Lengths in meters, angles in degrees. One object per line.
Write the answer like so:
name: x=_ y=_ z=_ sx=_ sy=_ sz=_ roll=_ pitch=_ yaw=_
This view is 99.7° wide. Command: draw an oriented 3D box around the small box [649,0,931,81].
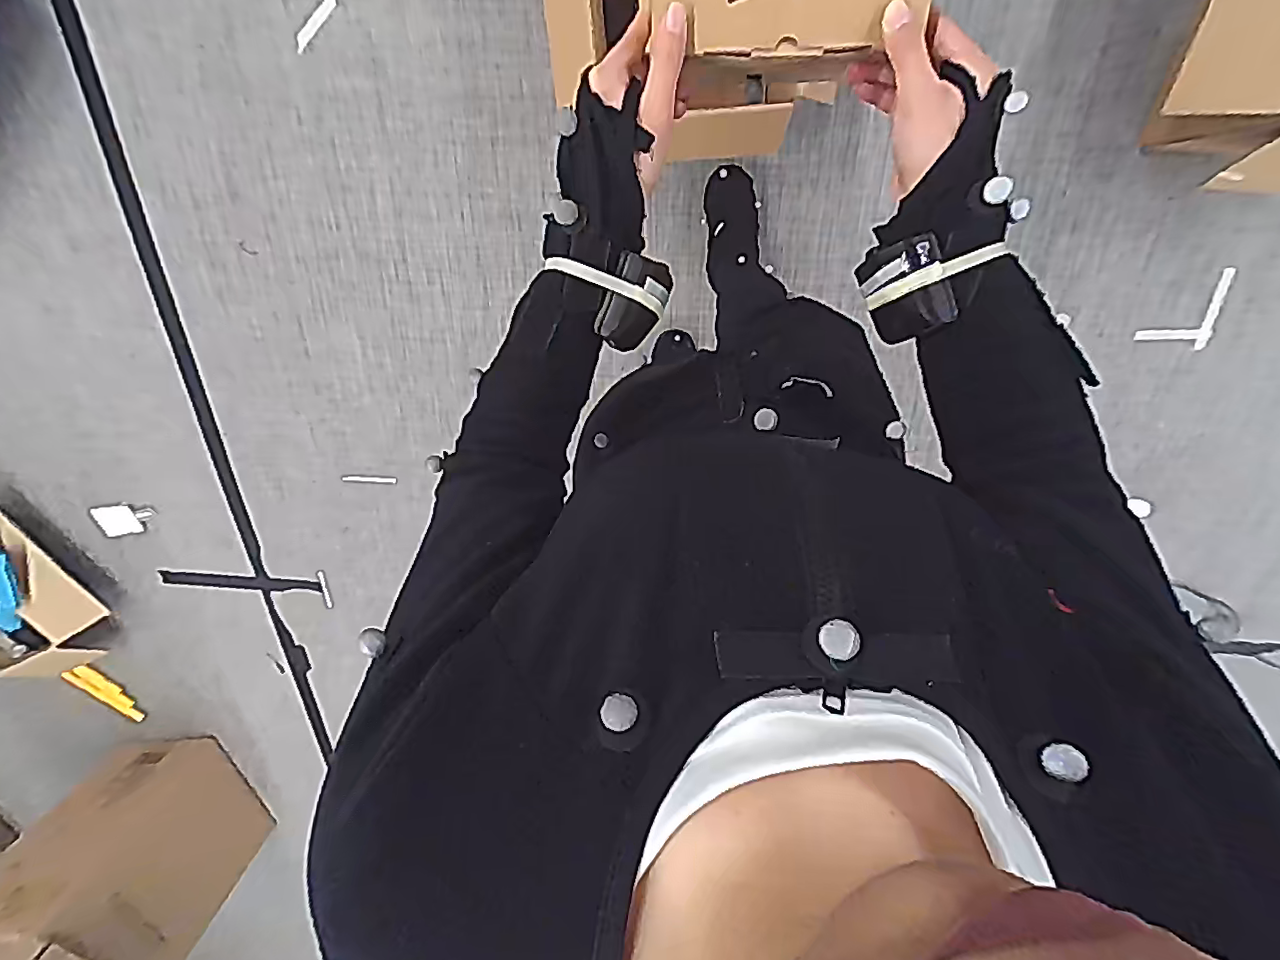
small box: x=0.089 y=-0.380 z=0.353 sx=0.168 sy=0.176 sz=0.179 roll=-1 pitch=121 yaw=2
